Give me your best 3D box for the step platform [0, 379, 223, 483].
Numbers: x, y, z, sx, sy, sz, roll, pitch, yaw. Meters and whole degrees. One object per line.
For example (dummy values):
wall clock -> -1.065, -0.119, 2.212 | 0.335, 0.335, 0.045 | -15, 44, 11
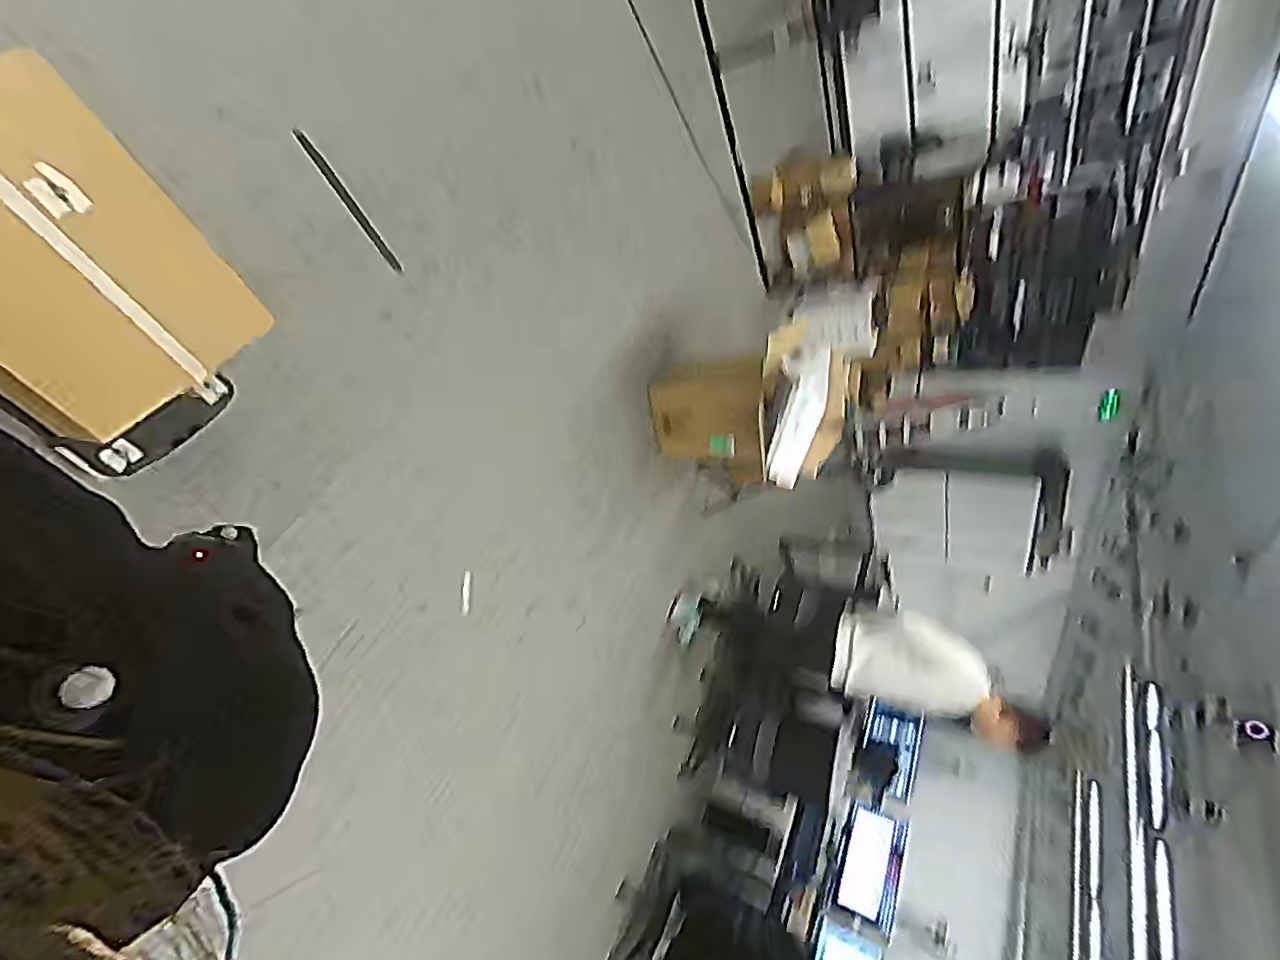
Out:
step platform -> -1.090, -0.322, 0.917 | 0.286, 0.204, 0.684 | -54, 134, -37

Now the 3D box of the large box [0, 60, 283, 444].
large box -> -0.872, -0.302, 0.814 | 0.320, 0.320, 0.408 | -58, 137, -33
